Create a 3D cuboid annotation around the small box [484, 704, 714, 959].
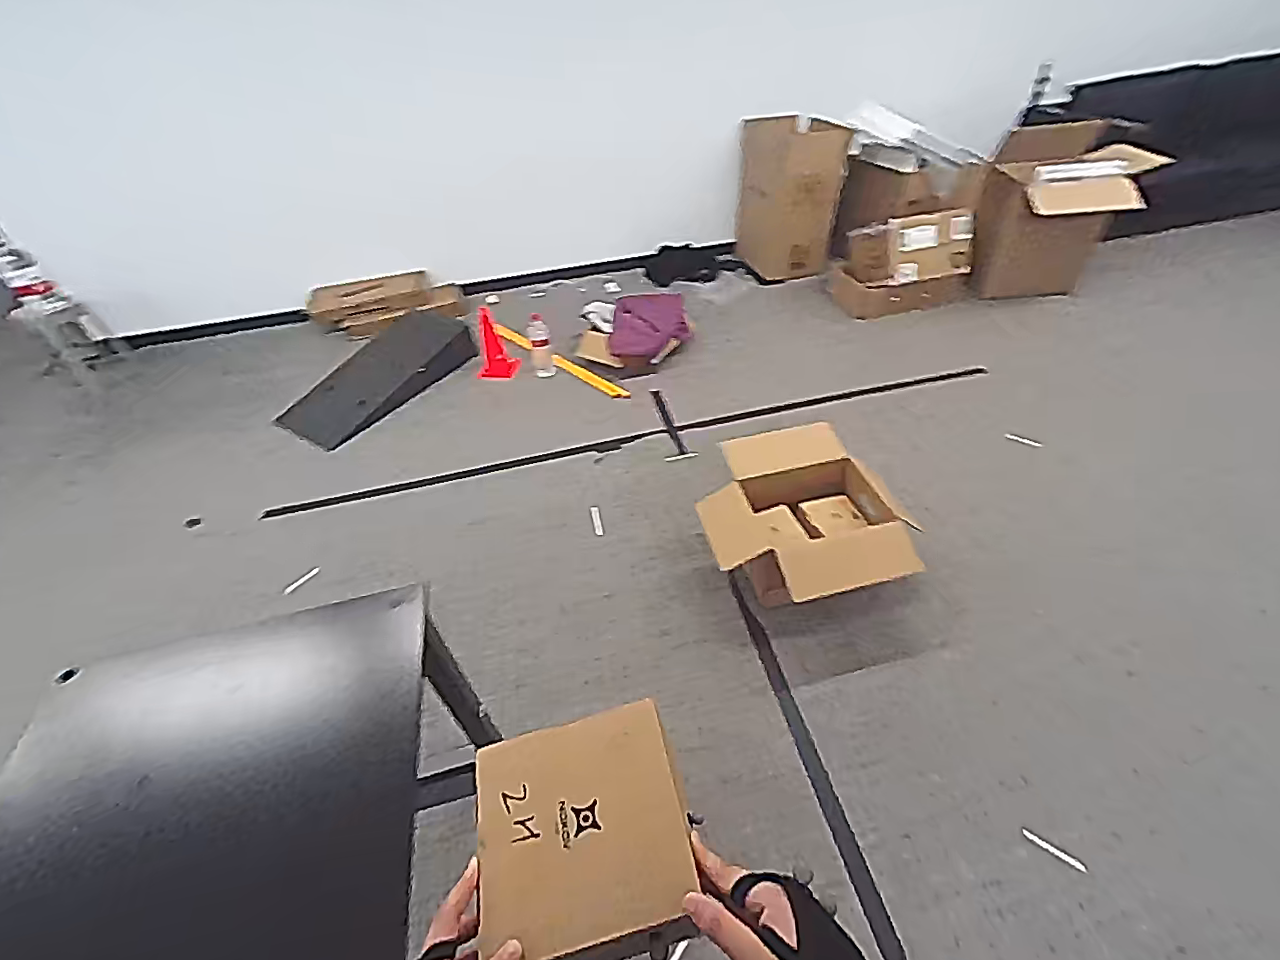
[{"bbox_3d":[-0.034,0.343,0.513,0.179,0.176,0.168,-16,45,-1],"label":"small box"}]
